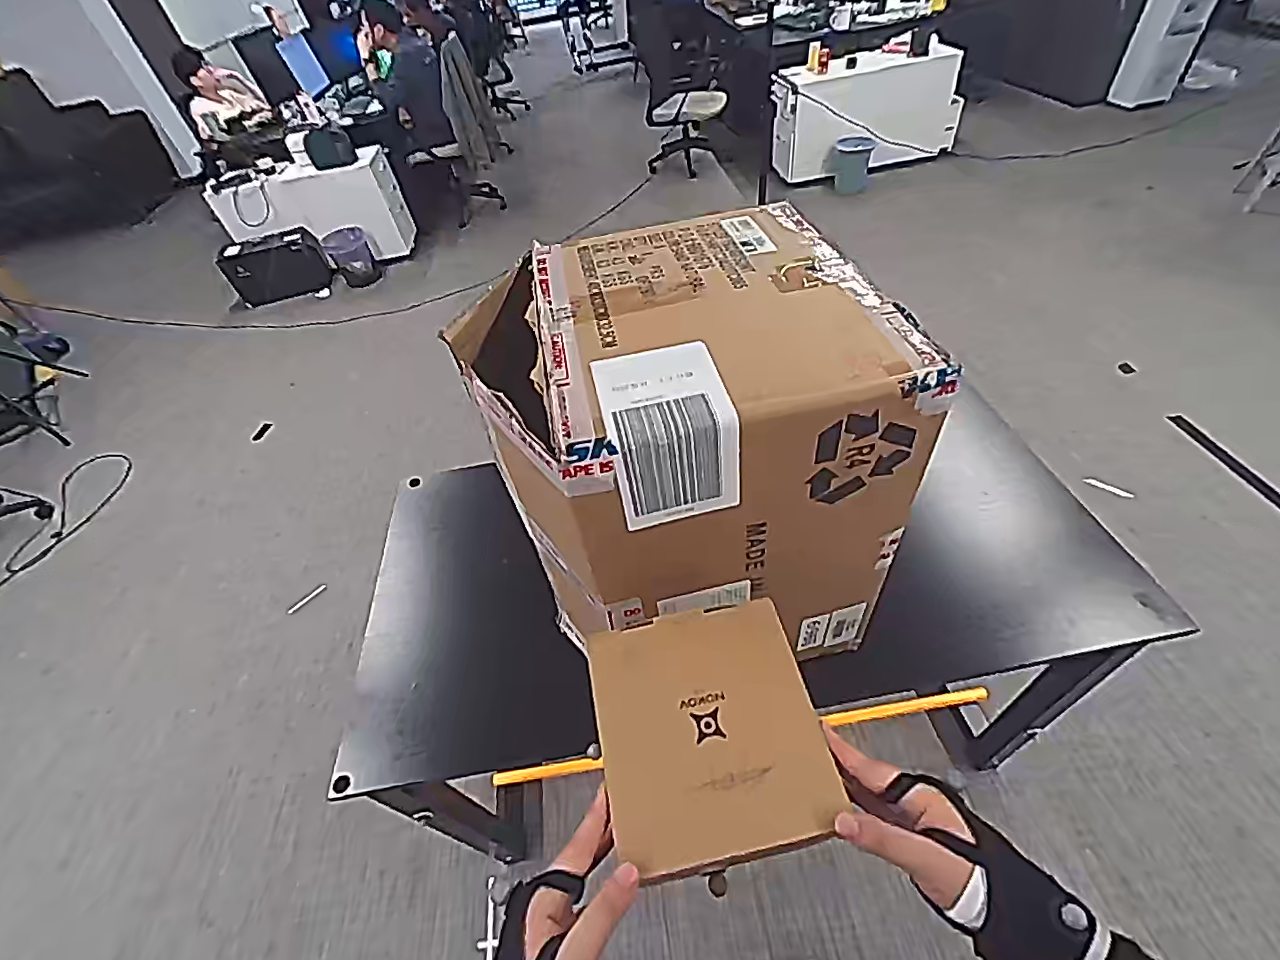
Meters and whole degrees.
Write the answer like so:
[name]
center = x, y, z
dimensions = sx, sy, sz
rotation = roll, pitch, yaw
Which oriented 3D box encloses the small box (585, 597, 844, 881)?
[small box]
center = 0.050, 0.232, 0.479
dimensions = 0.168, 0.176, 0.179
rotation = -11, 53, -4
